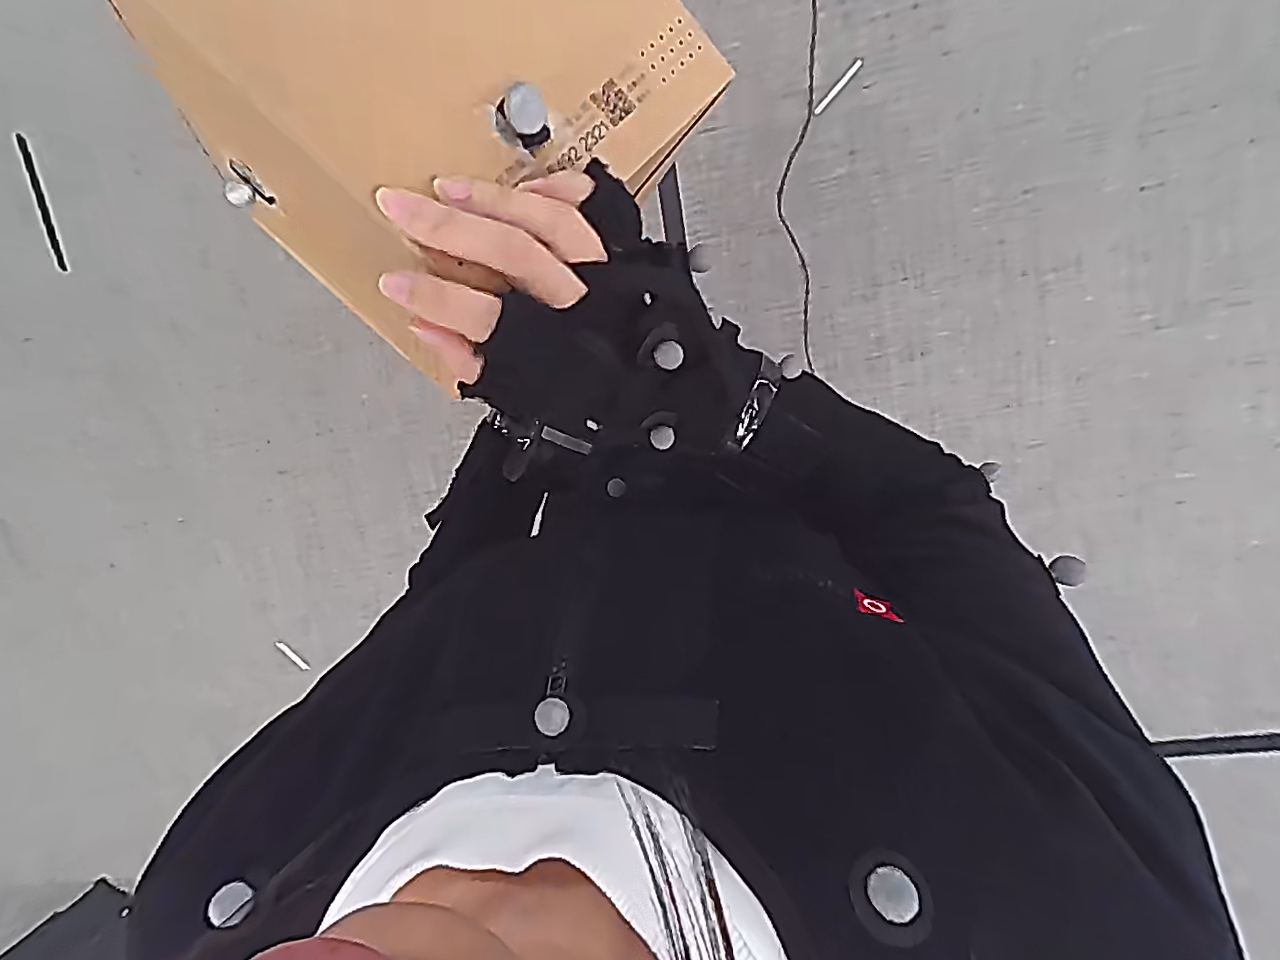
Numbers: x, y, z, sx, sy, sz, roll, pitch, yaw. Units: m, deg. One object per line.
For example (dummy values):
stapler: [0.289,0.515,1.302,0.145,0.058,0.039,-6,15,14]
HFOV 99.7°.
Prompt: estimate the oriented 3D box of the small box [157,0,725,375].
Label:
small box: [-0.090,-0.179,0.293,0.176,0.179,0.168,43,73,-15]
